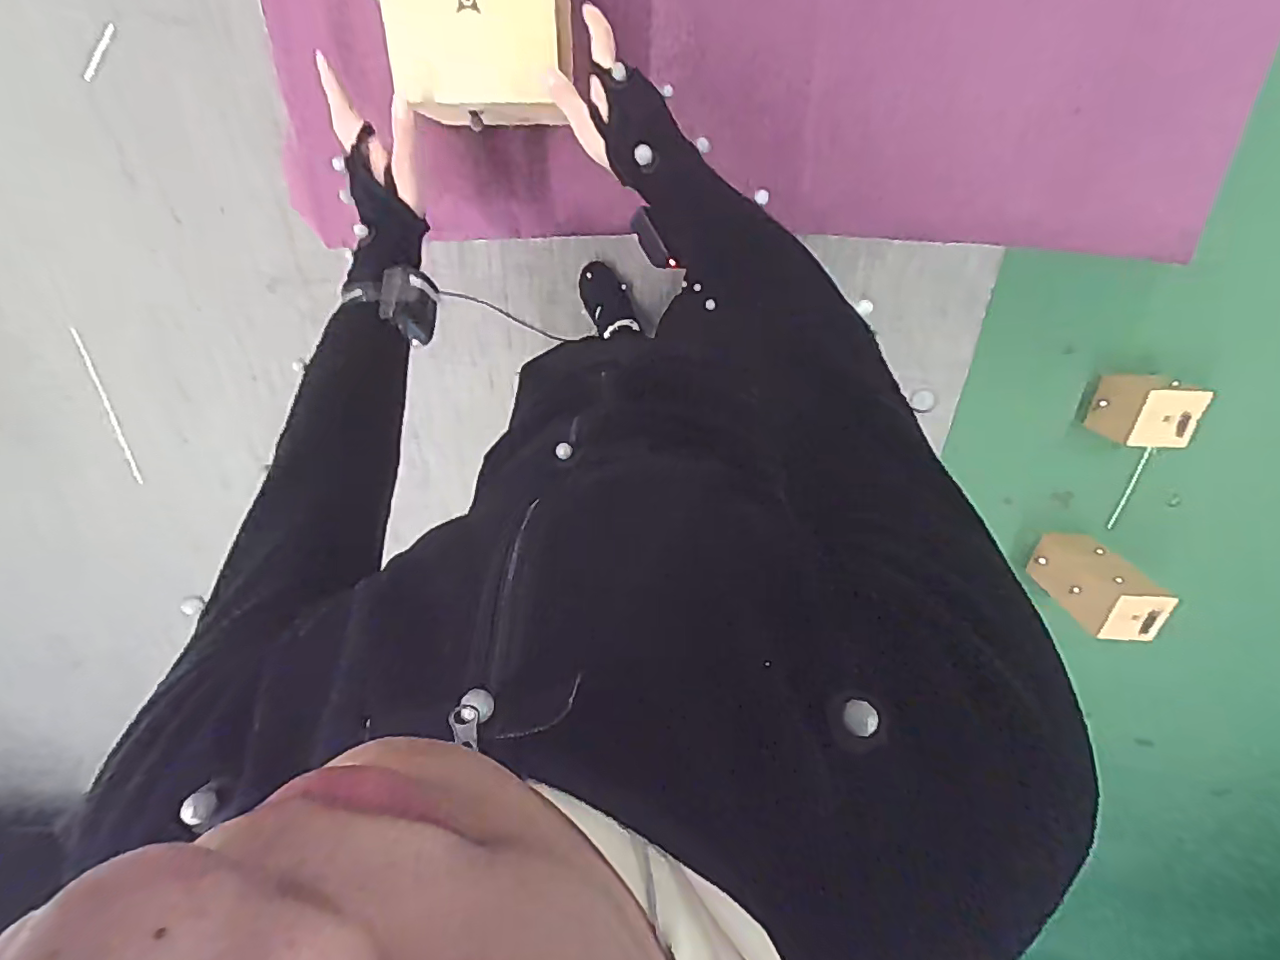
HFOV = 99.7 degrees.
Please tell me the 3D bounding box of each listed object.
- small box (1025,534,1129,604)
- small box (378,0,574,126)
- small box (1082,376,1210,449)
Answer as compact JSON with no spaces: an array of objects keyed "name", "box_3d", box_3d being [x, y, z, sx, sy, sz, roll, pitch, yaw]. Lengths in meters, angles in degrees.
[{"name":"small box","box_3d":[1.444,0.293,1.799,0.179,0.176,0.168,3,116,-3]},{"name":"small box","box_3d":[-0.163,-0.487,0.573,0.168,0.176,0.179,-1,116,0]},{"name":"small box","box_3d":[1.444,-0.199,1.556,0.179,0.176,0.168,2,116,-1]}]
